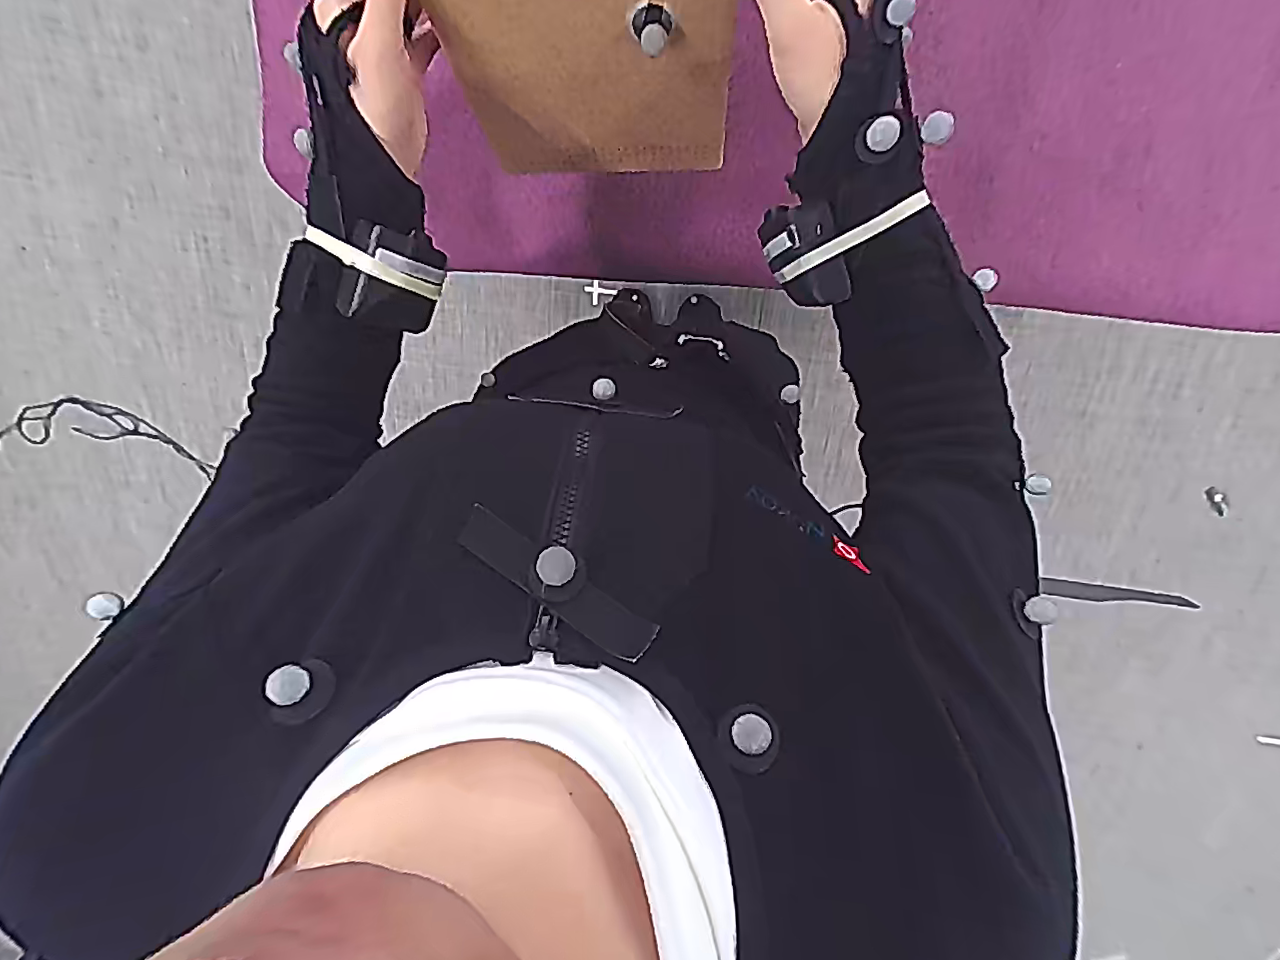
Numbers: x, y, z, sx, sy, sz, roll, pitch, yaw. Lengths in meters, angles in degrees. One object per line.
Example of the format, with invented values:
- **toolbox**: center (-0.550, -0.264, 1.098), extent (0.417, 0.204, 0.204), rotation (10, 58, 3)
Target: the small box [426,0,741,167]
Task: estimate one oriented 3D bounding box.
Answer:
- **small box**: center (-0.025, -0.336, 0.357), extent (0.179, 0.176, 0.168), rotation (1, 85, 5)
